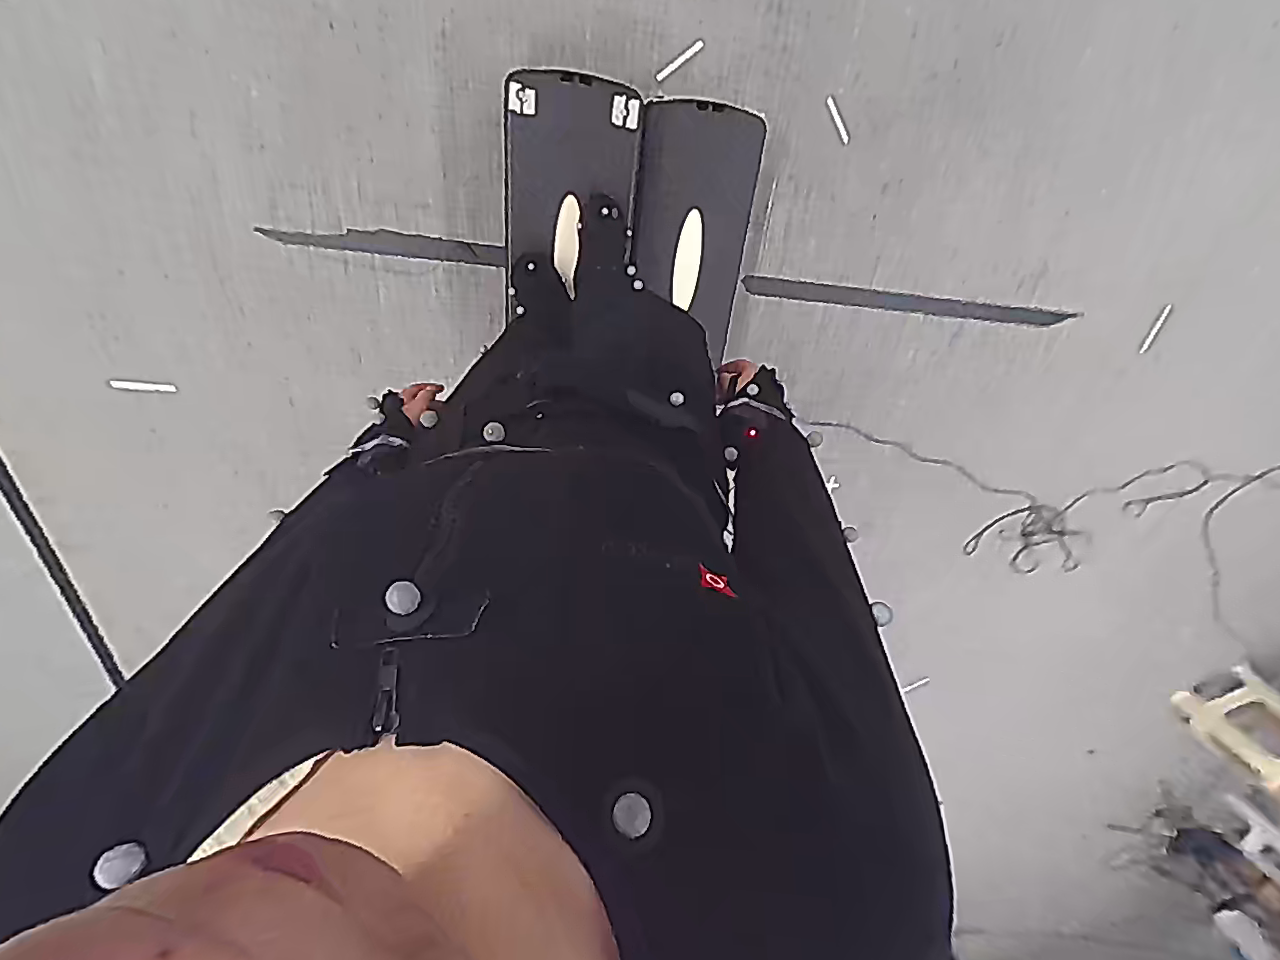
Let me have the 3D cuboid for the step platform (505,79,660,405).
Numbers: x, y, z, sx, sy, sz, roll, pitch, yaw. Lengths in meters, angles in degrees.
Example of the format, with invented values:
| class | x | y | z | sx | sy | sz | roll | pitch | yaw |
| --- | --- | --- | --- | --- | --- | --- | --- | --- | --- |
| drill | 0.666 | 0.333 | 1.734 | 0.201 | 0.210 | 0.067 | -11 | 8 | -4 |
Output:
| class | x | y | z | sx | sy | sz | roll | pitch | yaw |
| --- | --- | --- | --- | --- | --- | --- | --- | --- | --- |
| step platform | -0.152 | -0.519 | 1.275 | 0.286 | 0.204 | 0.684 | 6 | 117 | -10 |
